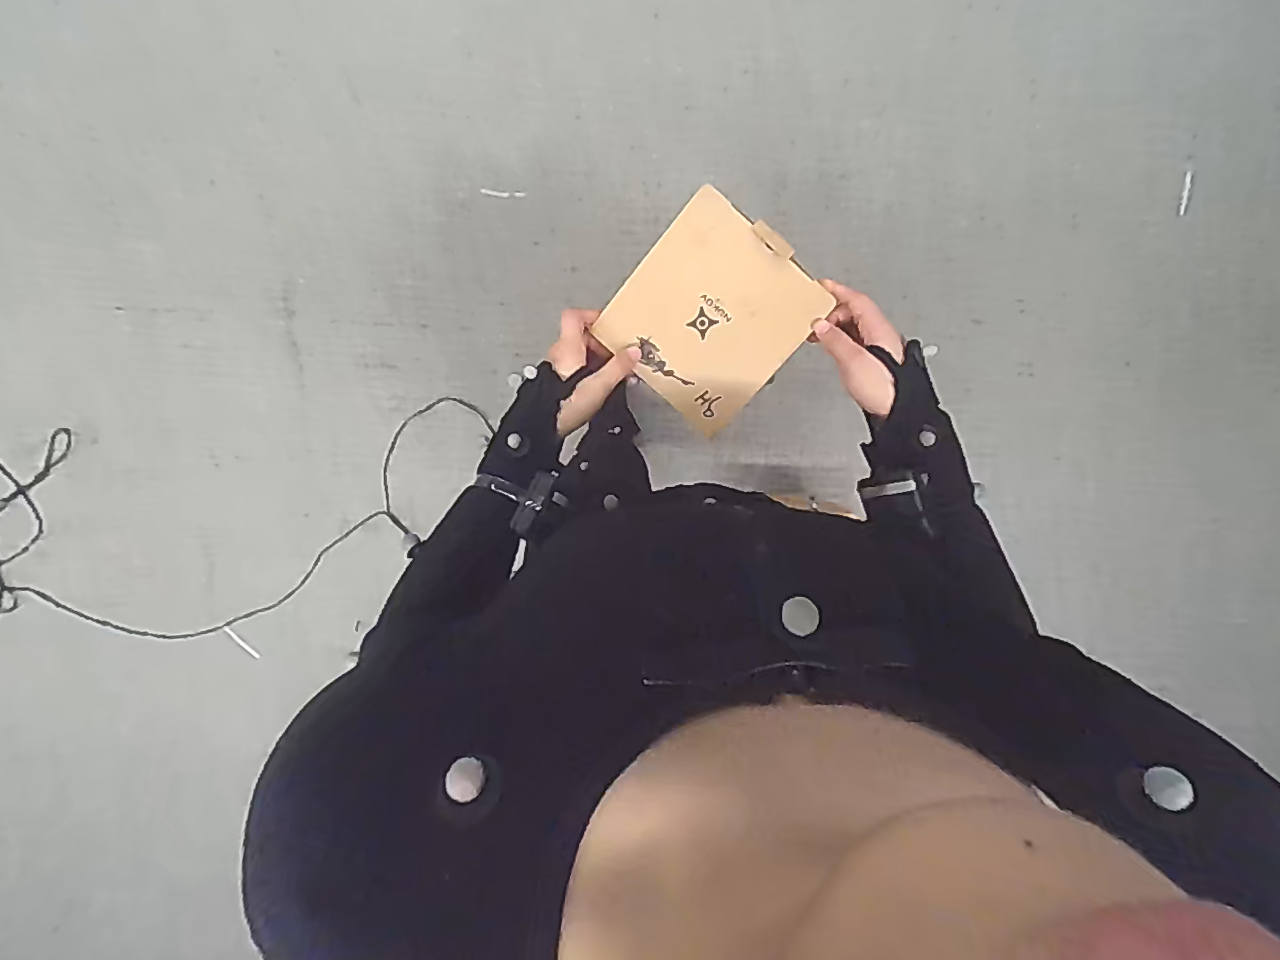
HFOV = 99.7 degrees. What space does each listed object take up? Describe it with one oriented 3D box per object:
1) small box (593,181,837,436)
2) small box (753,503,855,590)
[{"bbox_3d":[0.076,-0.175,0.589,0.168,0.176,0.179,42,105,-3],"label":"small box"},{"bbox_3d":[0.371,0.147,1.248,0.179,0.176,0.168,1,97,-1],"label":"small box"}]
